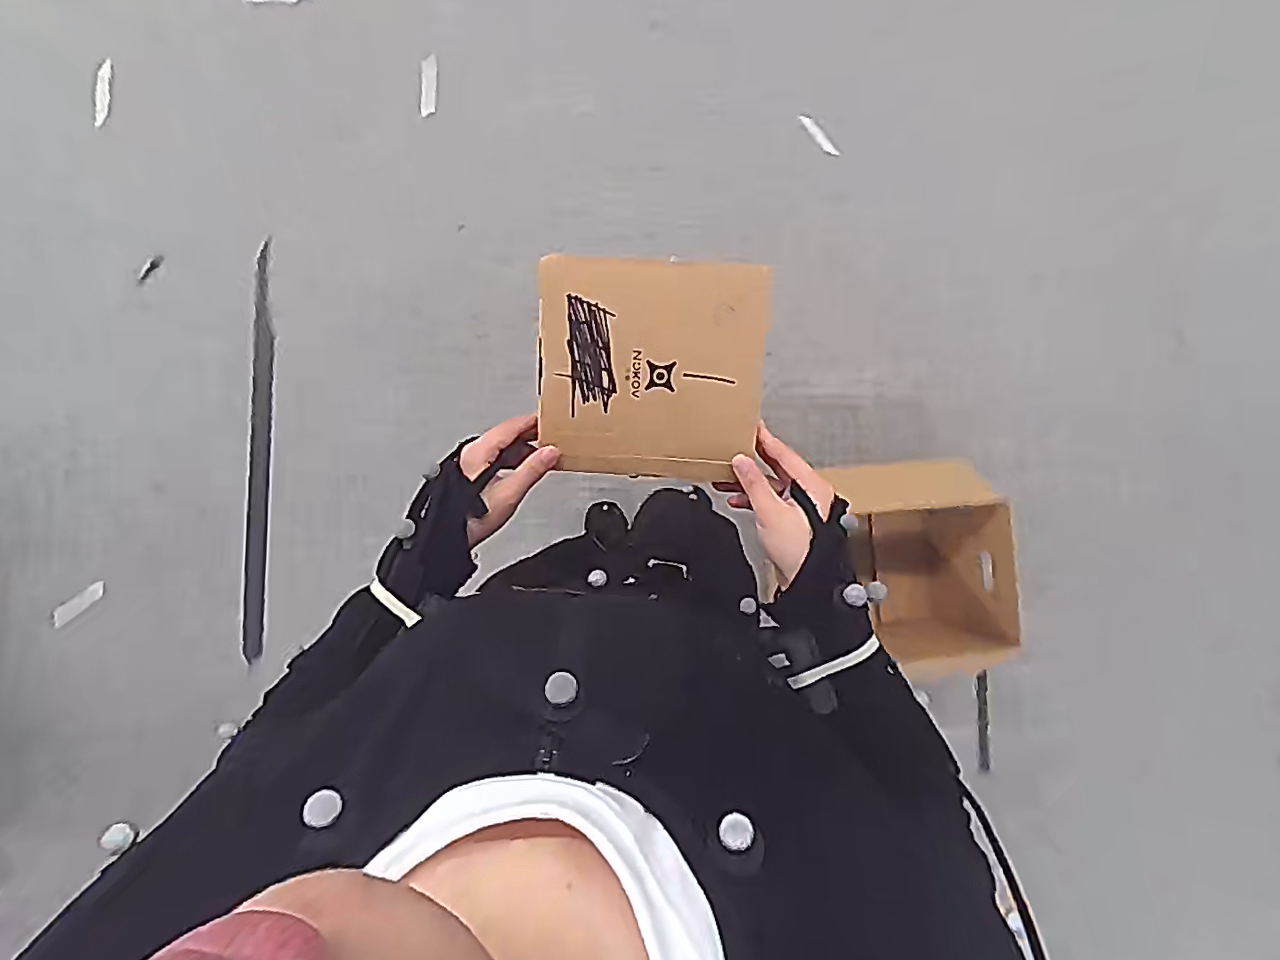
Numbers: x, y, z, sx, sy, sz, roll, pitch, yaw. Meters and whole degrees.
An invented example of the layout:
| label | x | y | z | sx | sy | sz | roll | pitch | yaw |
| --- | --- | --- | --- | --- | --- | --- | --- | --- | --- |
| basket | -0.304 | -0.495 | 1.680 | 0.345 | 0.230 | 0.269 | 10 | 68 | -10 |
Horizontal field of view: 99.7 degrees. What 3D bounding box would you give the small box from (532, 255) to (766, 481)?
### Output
| label | x | y | z | sx | sy | sz | roll | pitch | yaw |
| --- | --- | --- | --- | --- | --- | --- | --- | --- | --- |
| small box | 0.010 | -0.102 | 0.493 | 0.179 | 0.176 | 0.168 | 4 | 104 | 5 |
